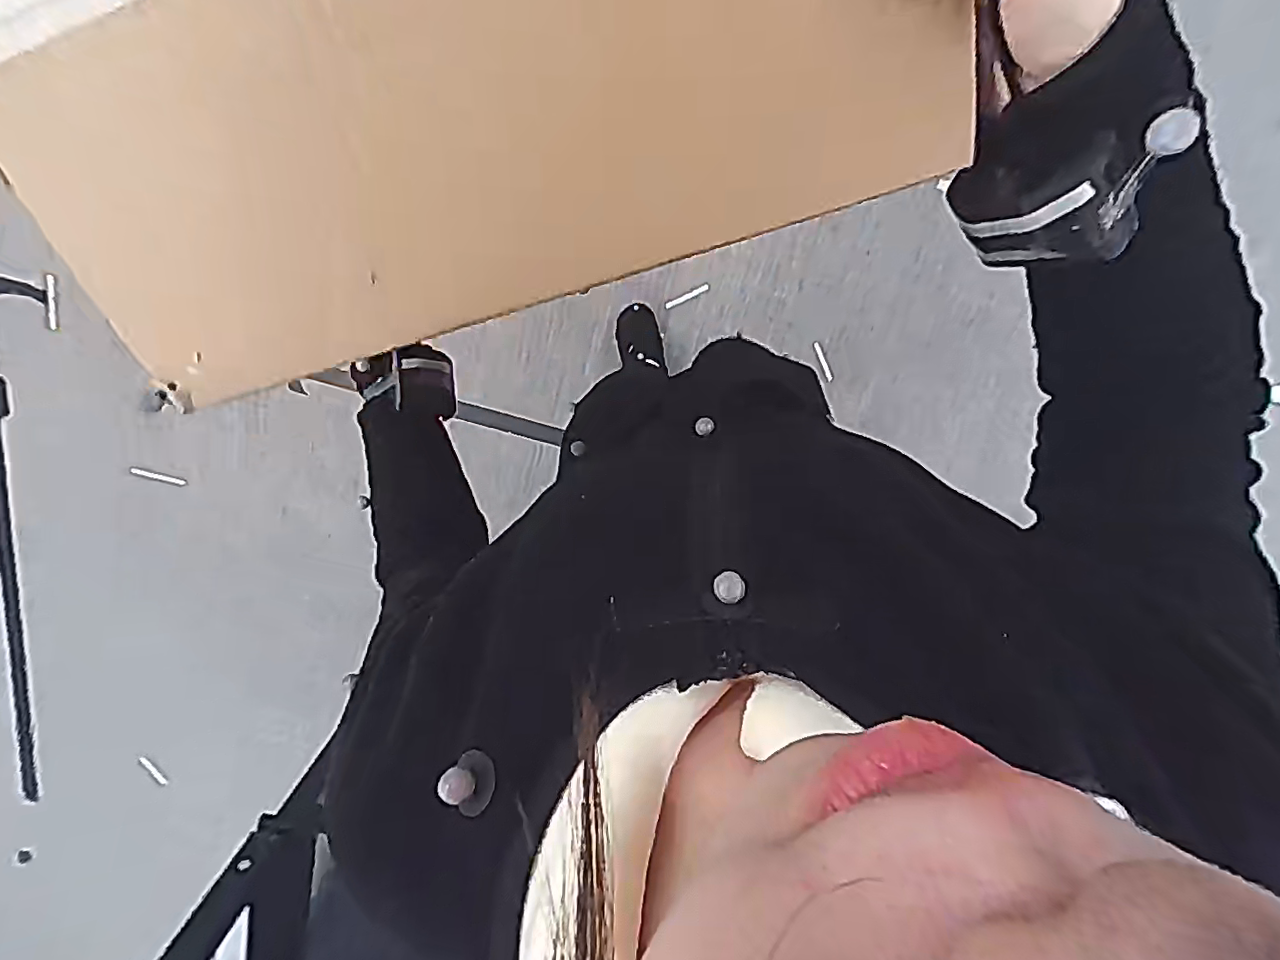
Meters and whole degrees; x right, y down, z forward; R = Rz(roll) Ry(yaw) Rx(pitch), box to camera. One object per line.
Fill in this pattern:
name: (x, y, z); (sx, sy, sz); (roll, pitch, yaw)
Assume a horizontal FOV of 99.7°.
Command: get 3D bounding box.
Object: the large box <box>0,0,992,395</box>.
large box: (-0.081, -0.290, 0.324); (0.408, 0.320, 0.320); (-14, 114, 9)
